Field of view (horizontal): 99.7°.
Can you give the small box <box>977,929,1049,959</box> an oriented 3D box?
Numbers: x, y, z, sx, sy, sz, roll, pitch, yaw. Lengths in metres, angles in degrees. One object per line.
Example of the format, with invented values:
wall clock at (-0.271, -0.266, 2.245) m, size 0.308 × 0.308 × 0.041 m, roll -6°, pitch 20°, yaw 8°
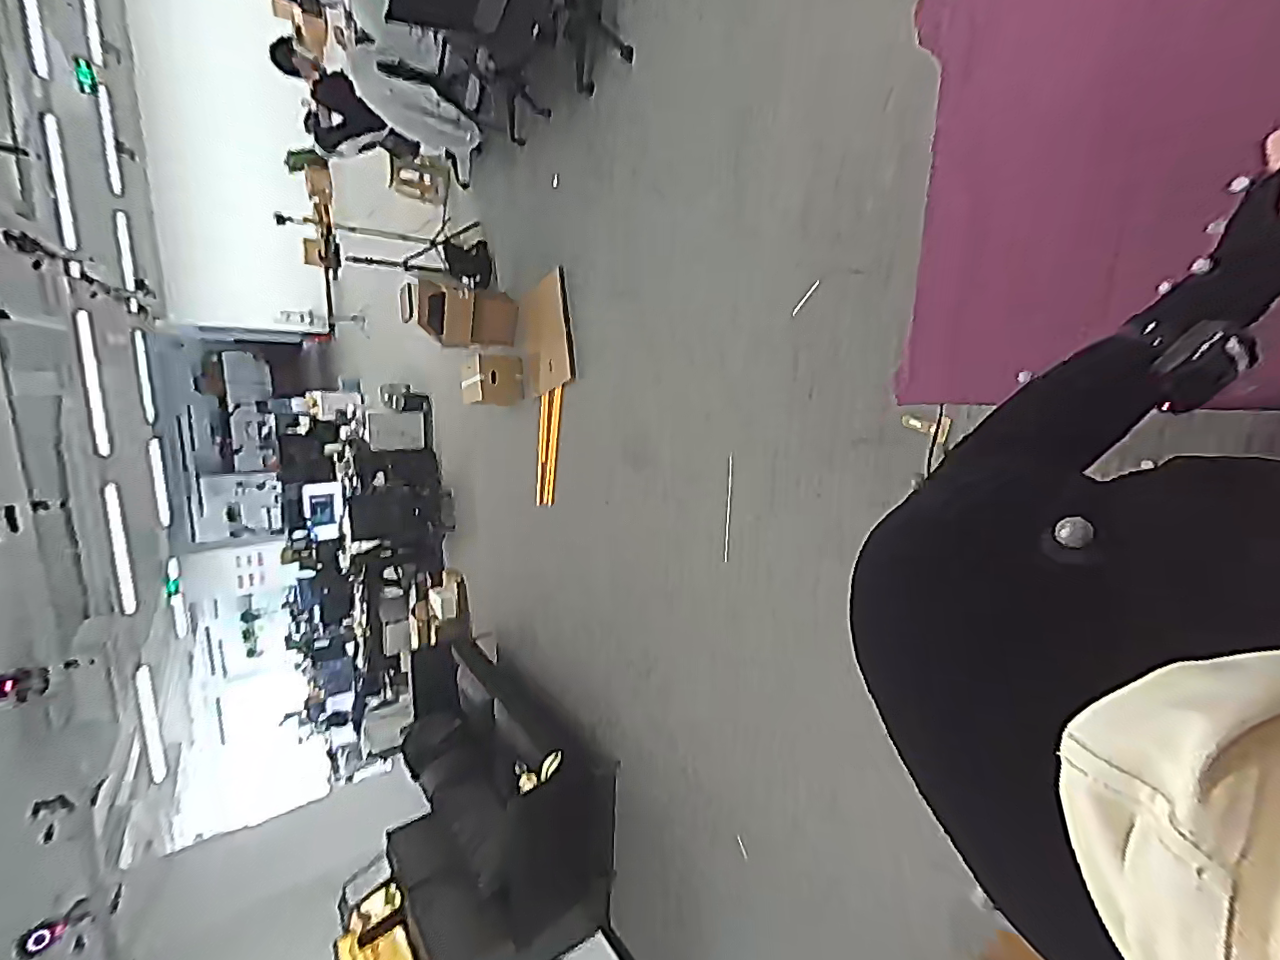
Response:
small box at (1.053, 1.414, 1.500) m, size 0.179 × 0.176 × 0.168 m, roll 15°, pitch 108°, yaw 53°
